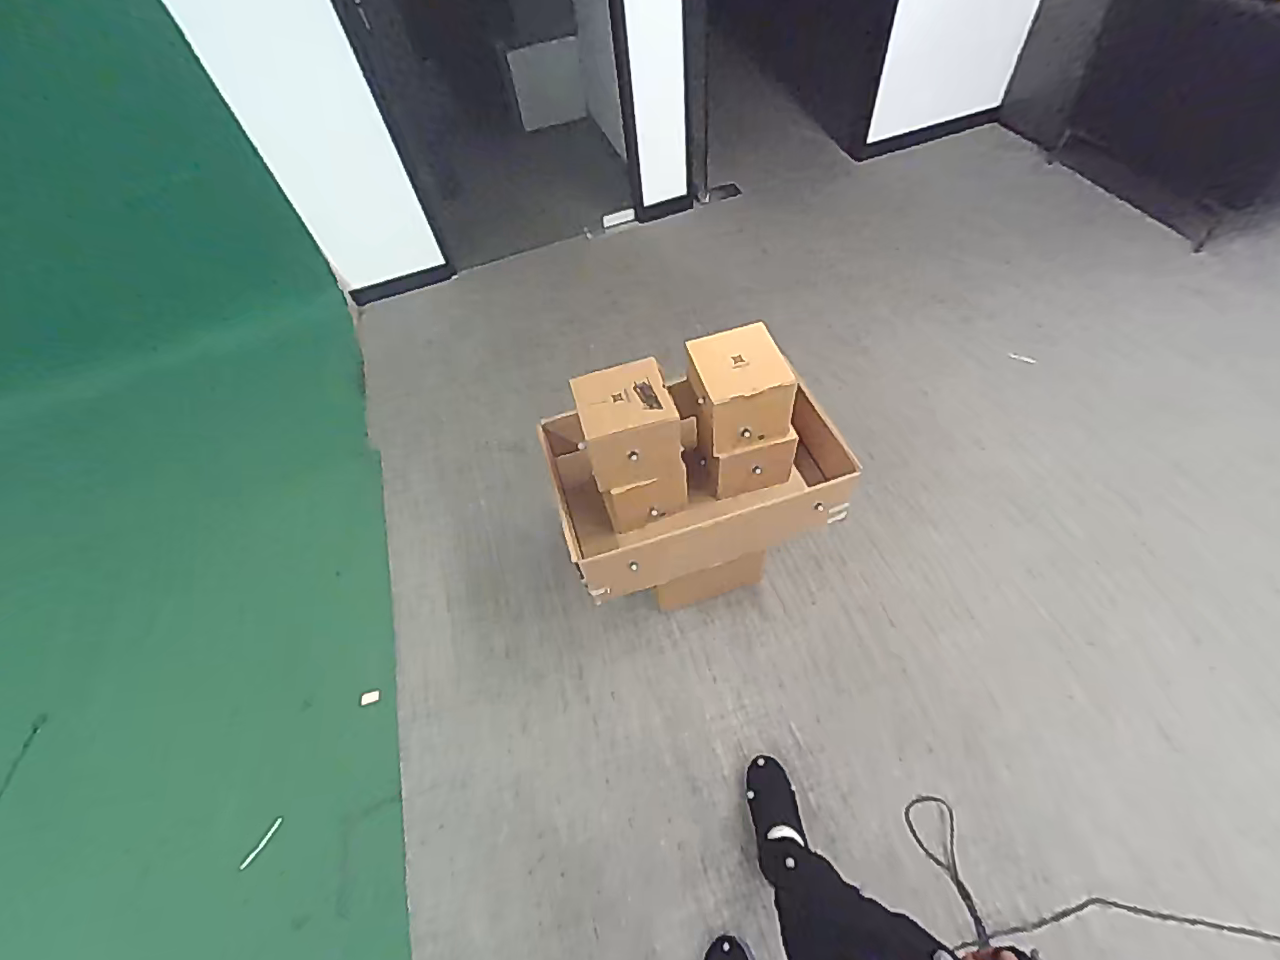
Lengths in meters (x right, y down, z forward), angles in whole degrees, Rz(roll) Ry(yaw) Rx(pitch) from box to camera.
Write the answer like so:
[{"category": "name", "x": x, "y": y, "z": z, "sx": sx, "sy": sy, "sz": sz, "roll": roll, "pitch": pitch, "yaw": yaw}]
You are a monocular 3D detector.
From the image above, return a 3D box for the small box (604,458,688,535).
[{"category": "small box", "x": -0.001, "y": -0.008, "z": 1.208, "sx": 0.168, "sy": 0.176, "sz": 0.179, "roll": -20, "pitch": 55, "yaw": -8}]

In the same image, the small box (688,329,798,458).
[{"category": "small box", "x": 0.201, "y": -0.174, "z": 1.102, "sx": 0.168, "sy": 0.176, "sz": 0.179, "roll": -16, "pitch": 55, "yaw": -3}]

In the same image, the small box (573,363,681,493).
[{"category": "small box", "x": -0.022, "y": -0.100, "z": 1.073, "sx": 0.179, "sy": 0.176, "sz": 0.168, "roll": -15, "pitch": 54, "yaw": -3}]
